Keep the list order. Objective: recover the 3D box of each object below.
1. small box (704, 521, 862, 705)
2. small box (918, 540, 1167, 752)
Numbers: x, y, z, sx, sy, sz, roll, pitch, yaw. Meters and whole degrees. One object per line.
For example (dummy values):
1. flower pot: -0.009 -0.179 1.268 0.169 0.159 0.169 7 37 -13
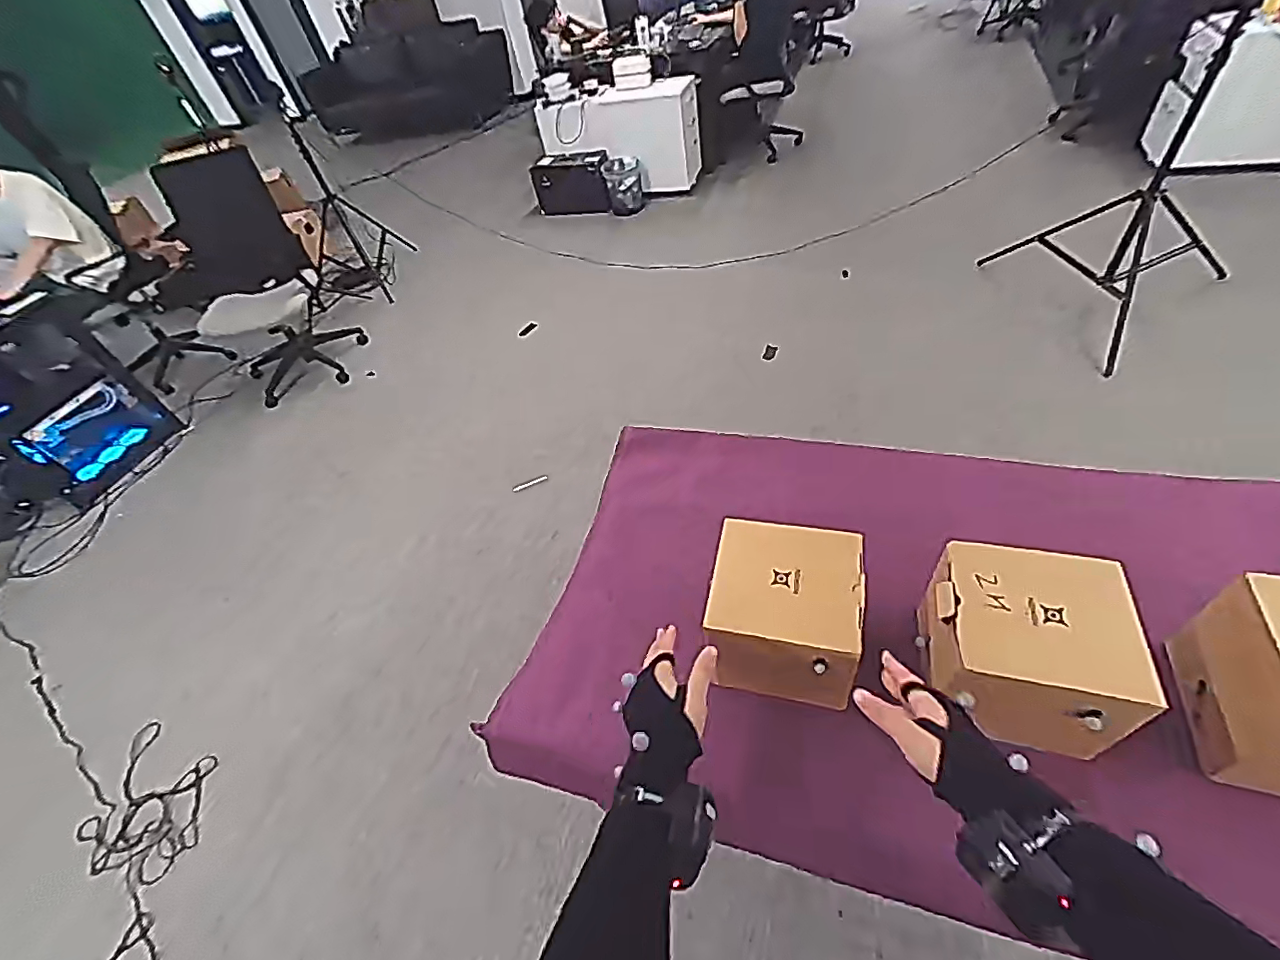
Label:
1. small box: 0.189 0.175 0.712 0.179 0.176 0.168 5 49 16
2. small box: 0.442 0.196 0.633 0.179 0.176 0.168 7 49 17
